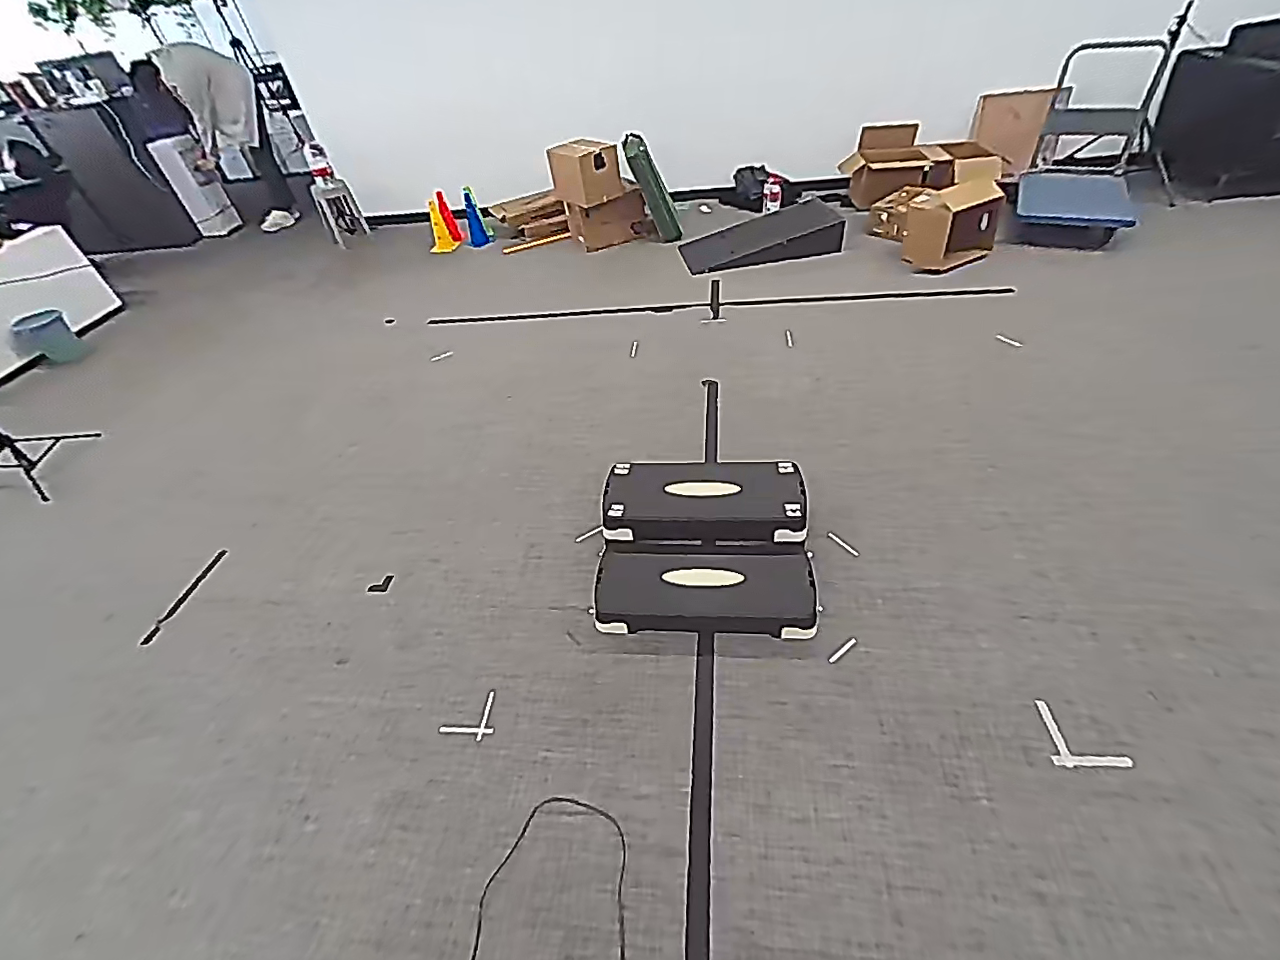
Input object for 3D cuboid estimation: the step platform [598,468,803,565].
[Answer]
[{"bbox_3d":[0.198,0.119,1.839,0.684,0.204,0.286,0,44,7],"label":"step platform"}]
